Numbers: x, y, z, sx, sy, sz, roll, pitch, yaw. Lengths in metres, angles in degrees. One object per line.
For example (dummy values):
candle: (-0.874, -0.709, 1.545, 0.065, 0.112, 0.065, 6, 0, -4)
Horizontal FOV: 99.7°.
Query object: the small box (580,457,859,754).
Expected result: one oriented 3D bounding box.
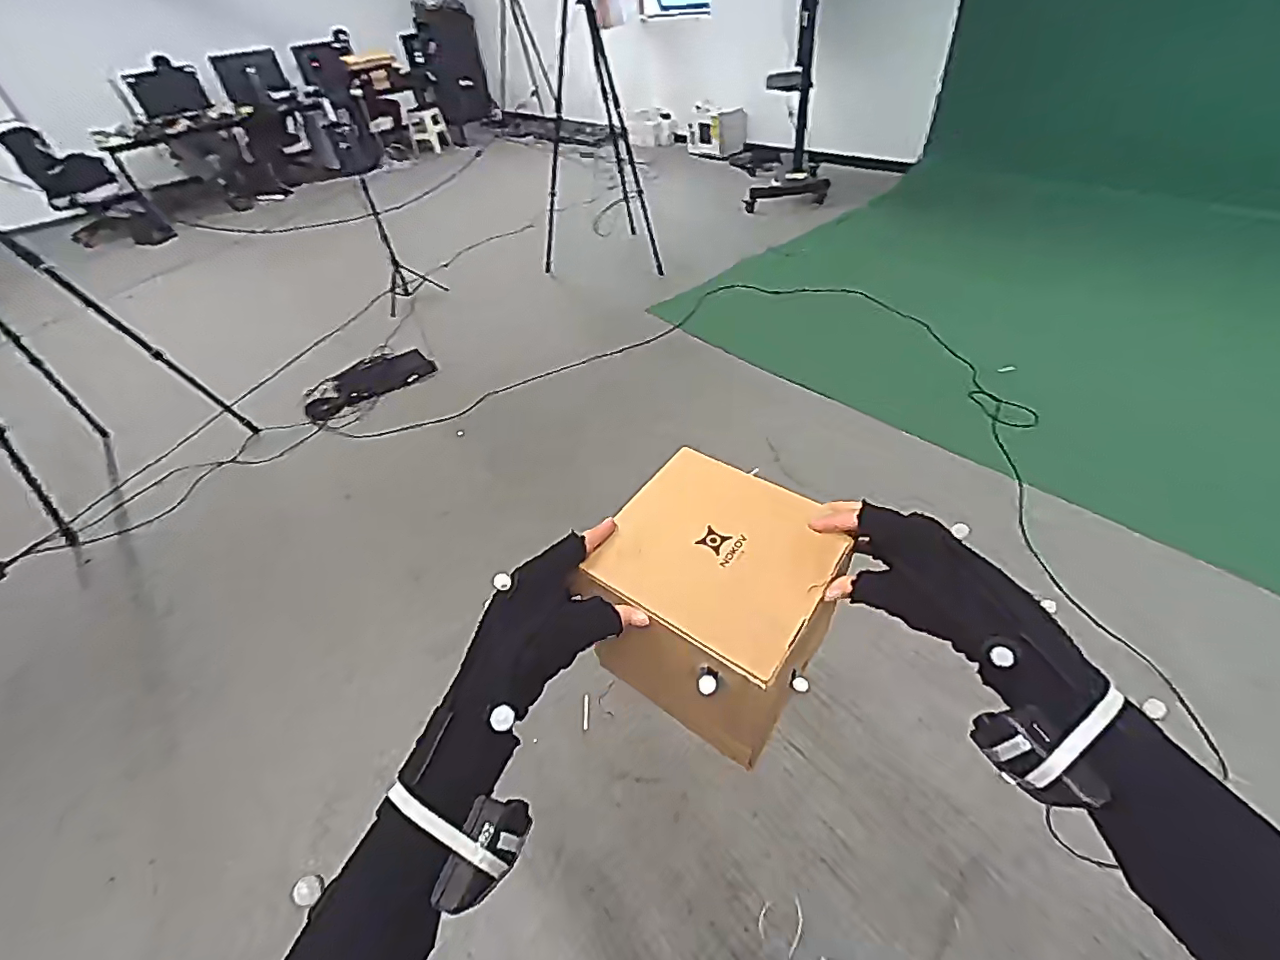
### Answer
small box: (0.069, 0.114, 0.499, 0.179, 0.176, 0.168, 26, 52, 27)
